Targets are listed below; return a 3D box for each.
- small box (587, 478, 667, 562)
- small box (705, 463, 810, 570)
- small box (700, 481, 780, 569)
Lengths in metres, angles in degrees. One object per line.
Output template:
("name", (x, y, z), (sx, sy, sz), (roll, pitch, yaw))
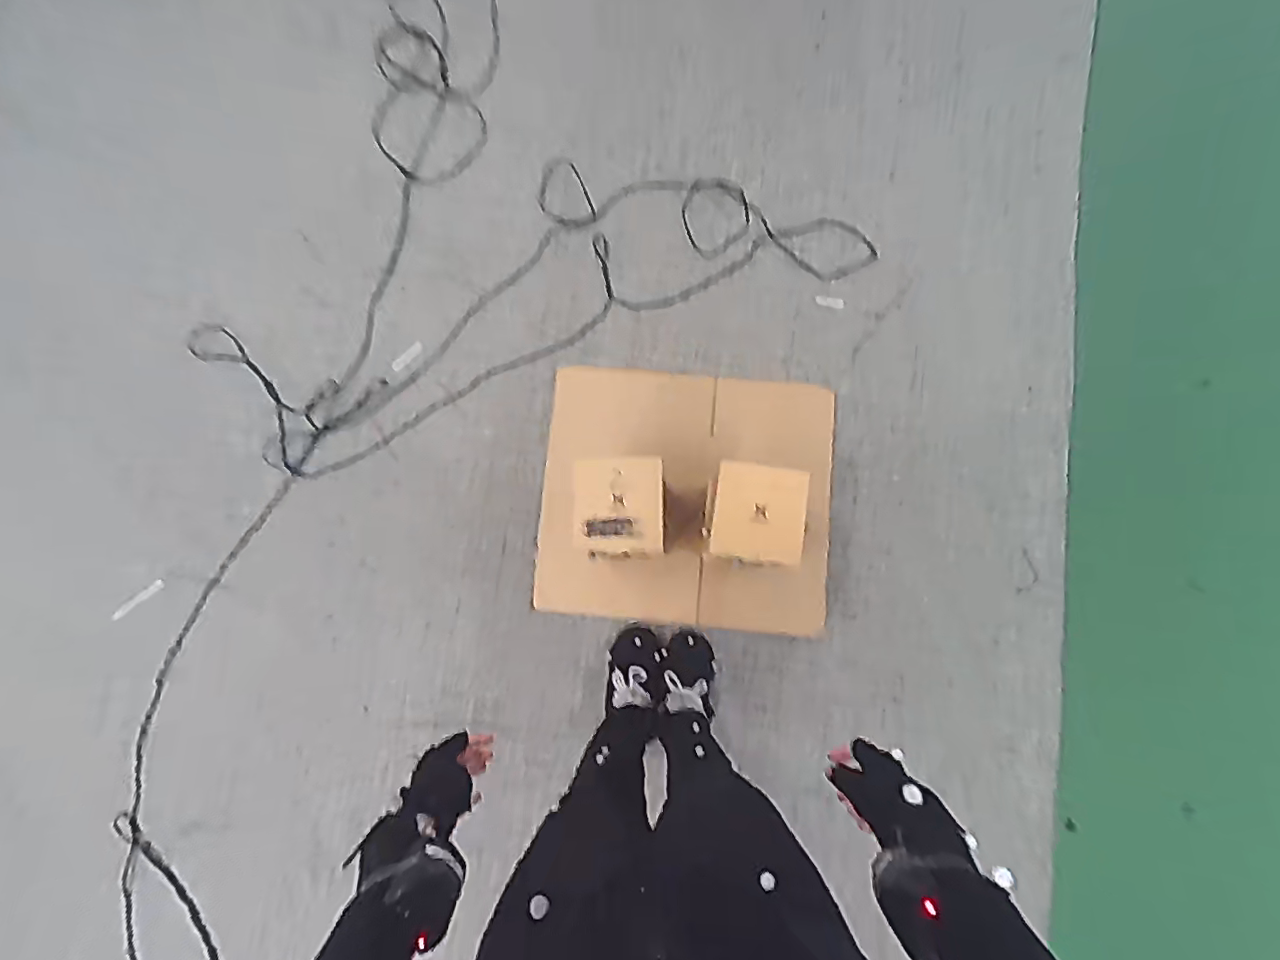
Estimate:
("small box", (-0.024, 0.094, 1.230), (0.168, 0.176, 0.179), (1, 82, 3))
("small box", (0.222, 0.075, 1.061), (0.168, 0.176, 0.179), (8, 83, 4))
("small box", (0.227, 0.105, 1.220), (0.168, 0.176, 0.179), (5, 83, 5))
